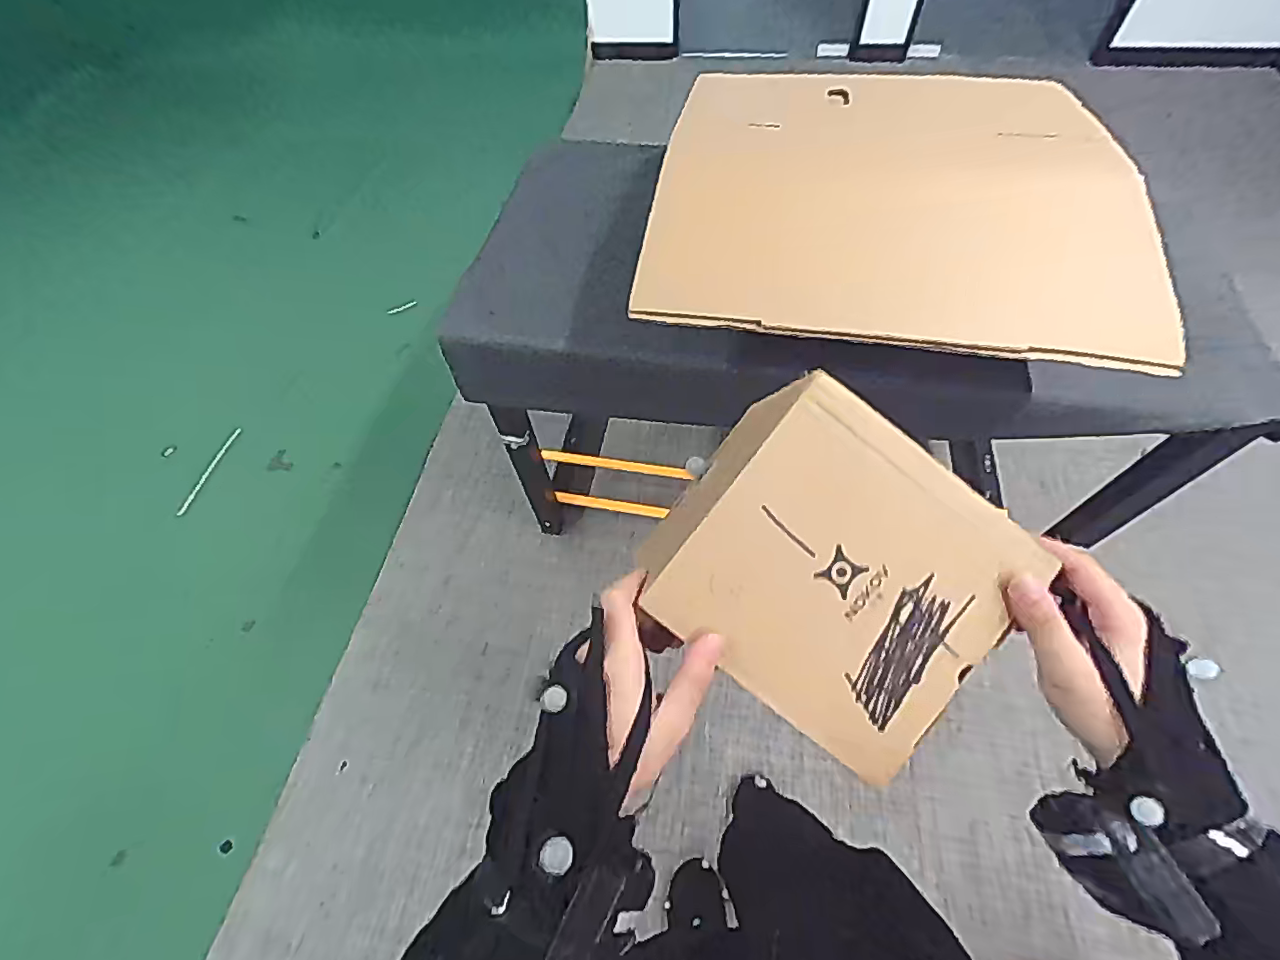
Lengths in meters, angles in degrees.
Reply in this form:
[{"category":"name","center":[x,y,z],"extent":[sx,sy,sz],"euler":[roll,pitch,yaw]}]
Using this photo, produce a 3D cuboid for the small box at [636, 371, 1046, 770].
[{"category":"small box","center":[0.114,0.050,0.384],"extent":[0.179,0.176,0.168],"euler":[38,90,-1]}]
